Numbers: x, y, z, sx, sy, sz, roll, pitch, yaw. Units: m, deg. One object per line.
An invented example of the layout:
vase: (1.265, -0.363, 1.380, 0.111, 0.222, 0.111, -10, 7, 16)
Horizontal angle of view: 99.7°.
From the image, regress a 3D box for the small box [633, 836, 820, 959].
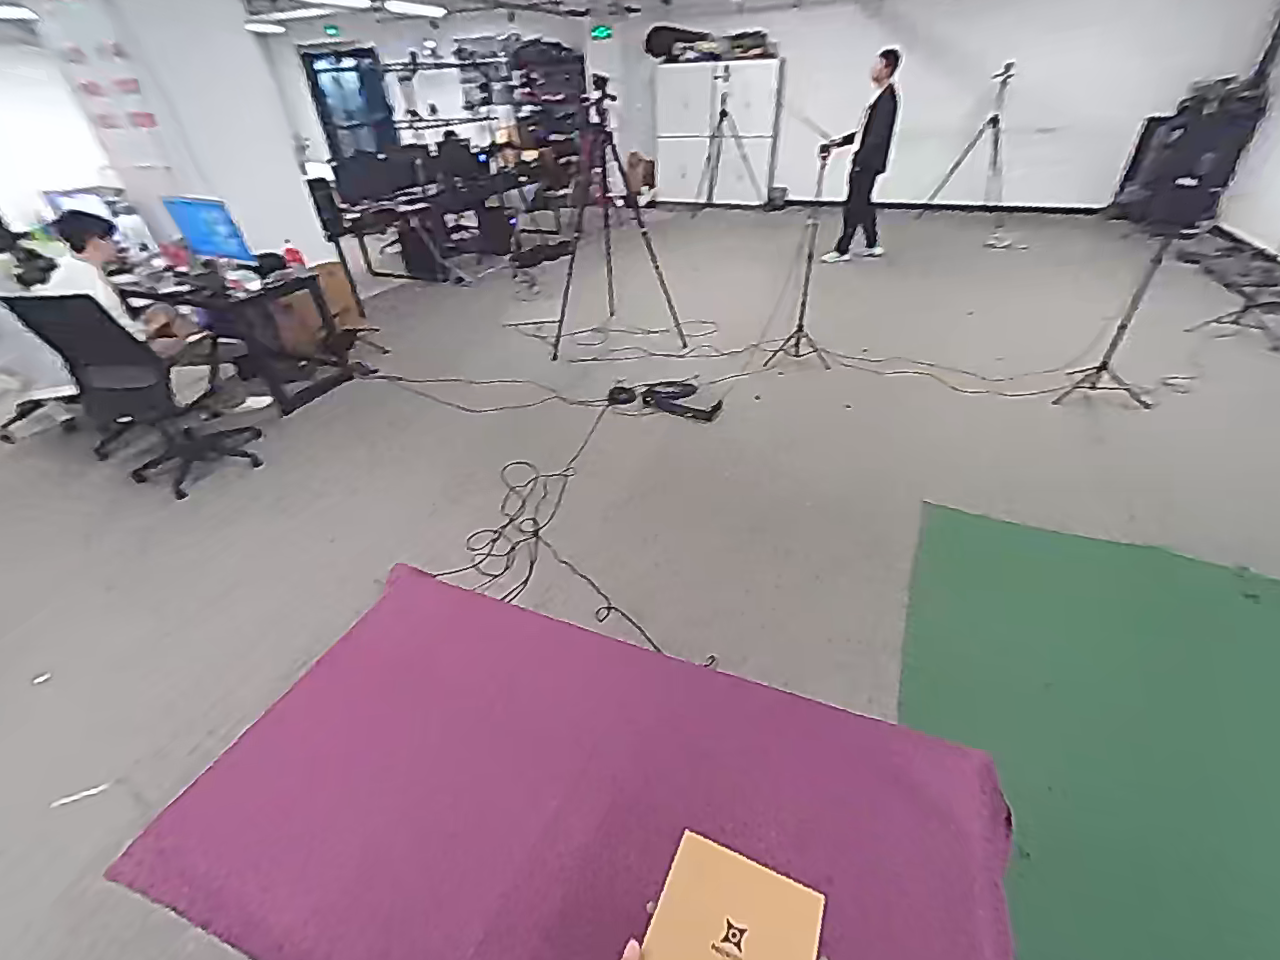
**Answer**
small box: (0.085, 0.552, 0.592, 0.168, 0.176, 0.179, 13, 32, 22)
